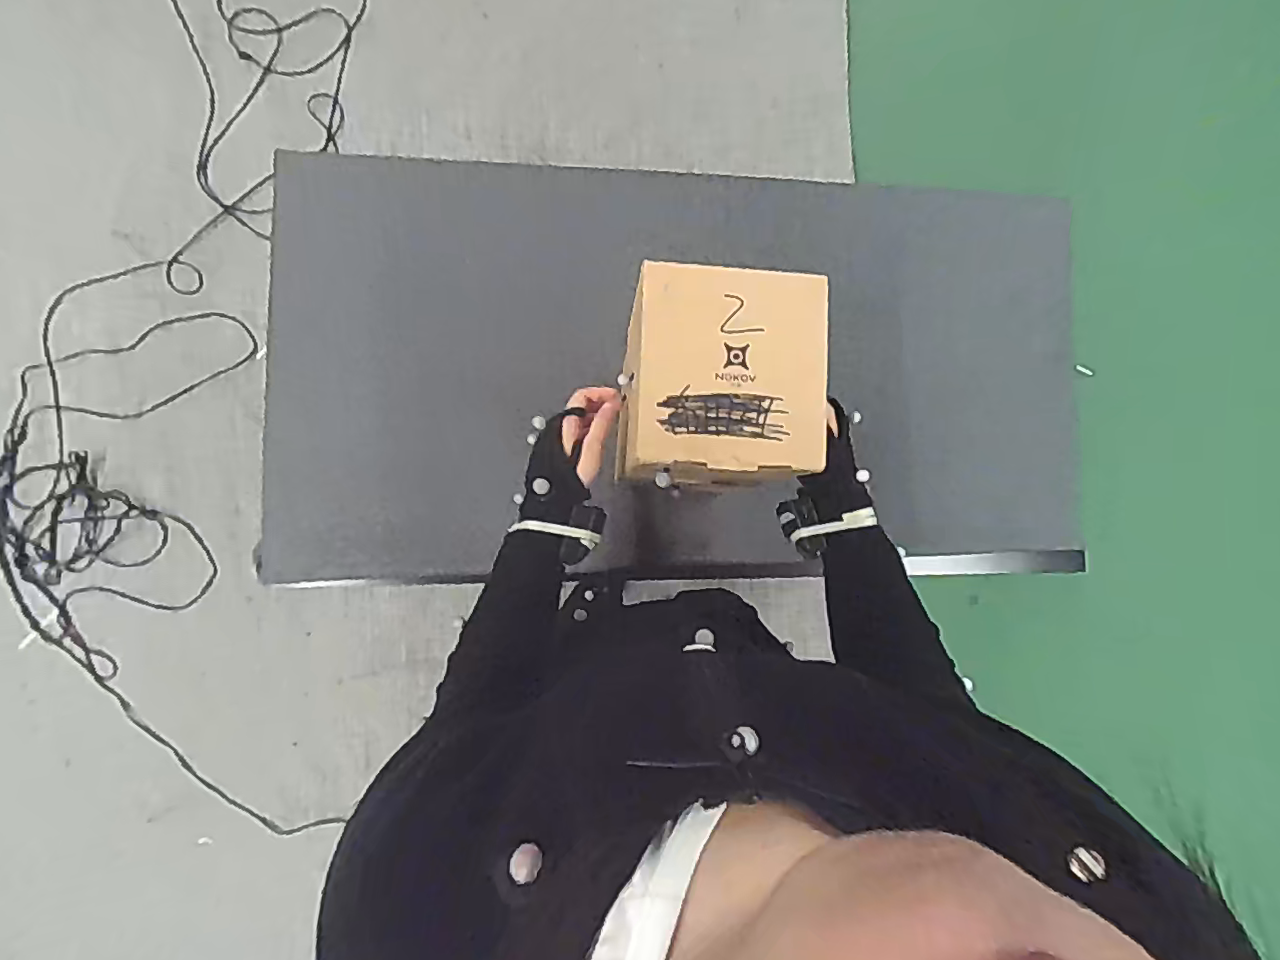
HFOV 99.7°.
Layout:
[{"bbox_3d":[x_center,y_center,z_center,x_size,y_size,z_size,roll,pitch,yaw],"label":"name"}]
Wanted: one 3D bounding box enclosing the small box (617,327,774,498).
[{"bbox_3d":[0.060,-0.074,0.689,0.168,0.176,0.179,5,85,-5],"label":"small box"}]
